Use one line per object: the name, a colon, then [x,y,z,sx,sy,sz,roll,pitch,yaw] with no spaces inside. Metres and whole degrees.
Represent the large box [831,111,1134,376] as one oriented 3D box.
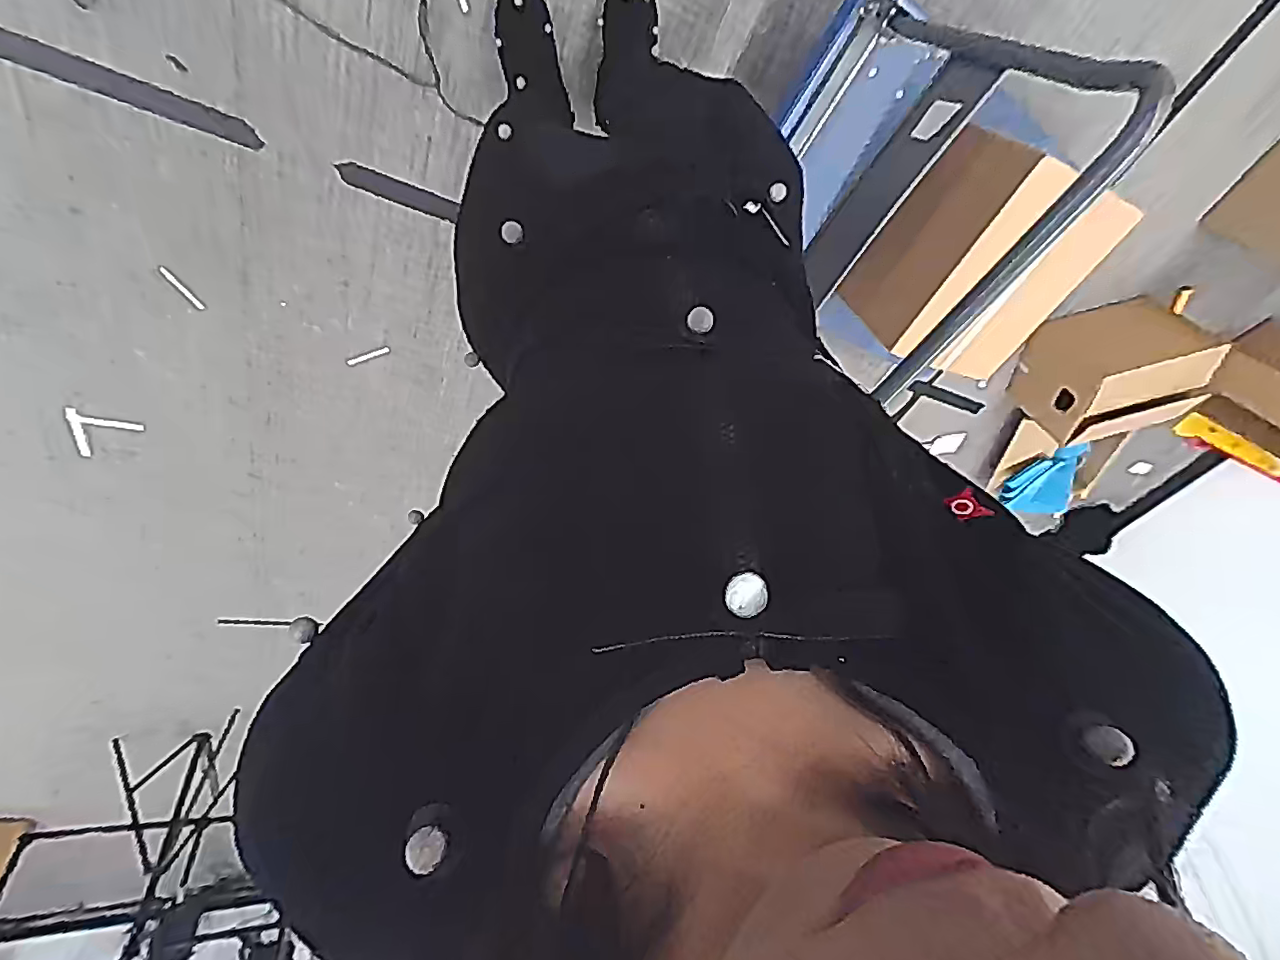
large box: [0.710,-0.505,1.193,0.320,0.320,0.408,9,133,-23]
